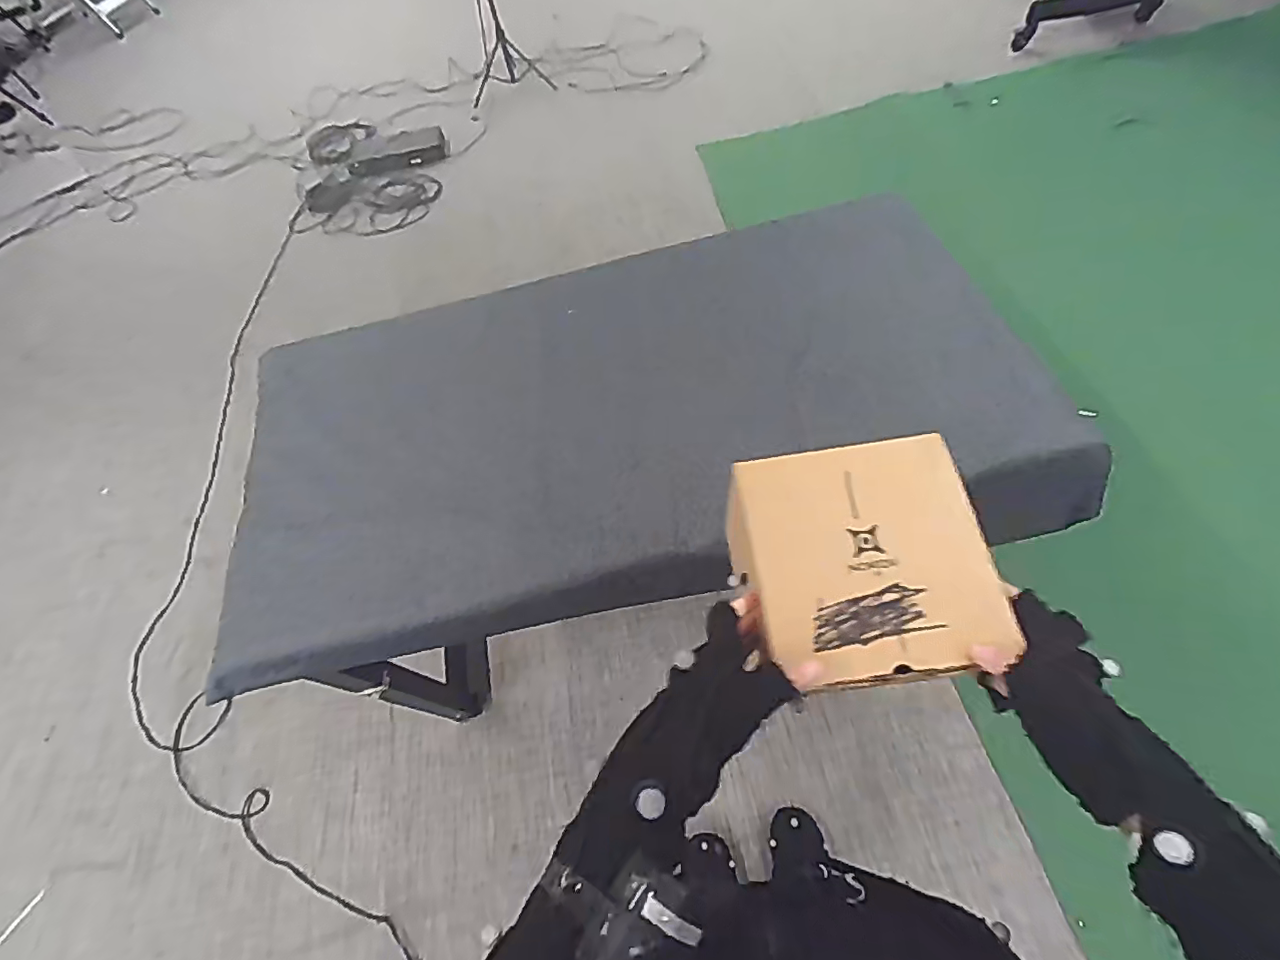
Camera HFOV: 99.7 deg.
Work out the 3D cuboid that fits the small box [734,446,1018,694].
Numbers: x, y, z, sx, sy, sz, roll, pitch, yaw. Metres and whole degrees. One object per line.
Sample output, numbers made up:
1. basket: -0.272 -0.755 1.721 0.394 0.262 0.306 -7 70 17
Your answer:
1. small box: 0.179 0.091 0.478 0.168 0.176 0.179 -7 65 3
